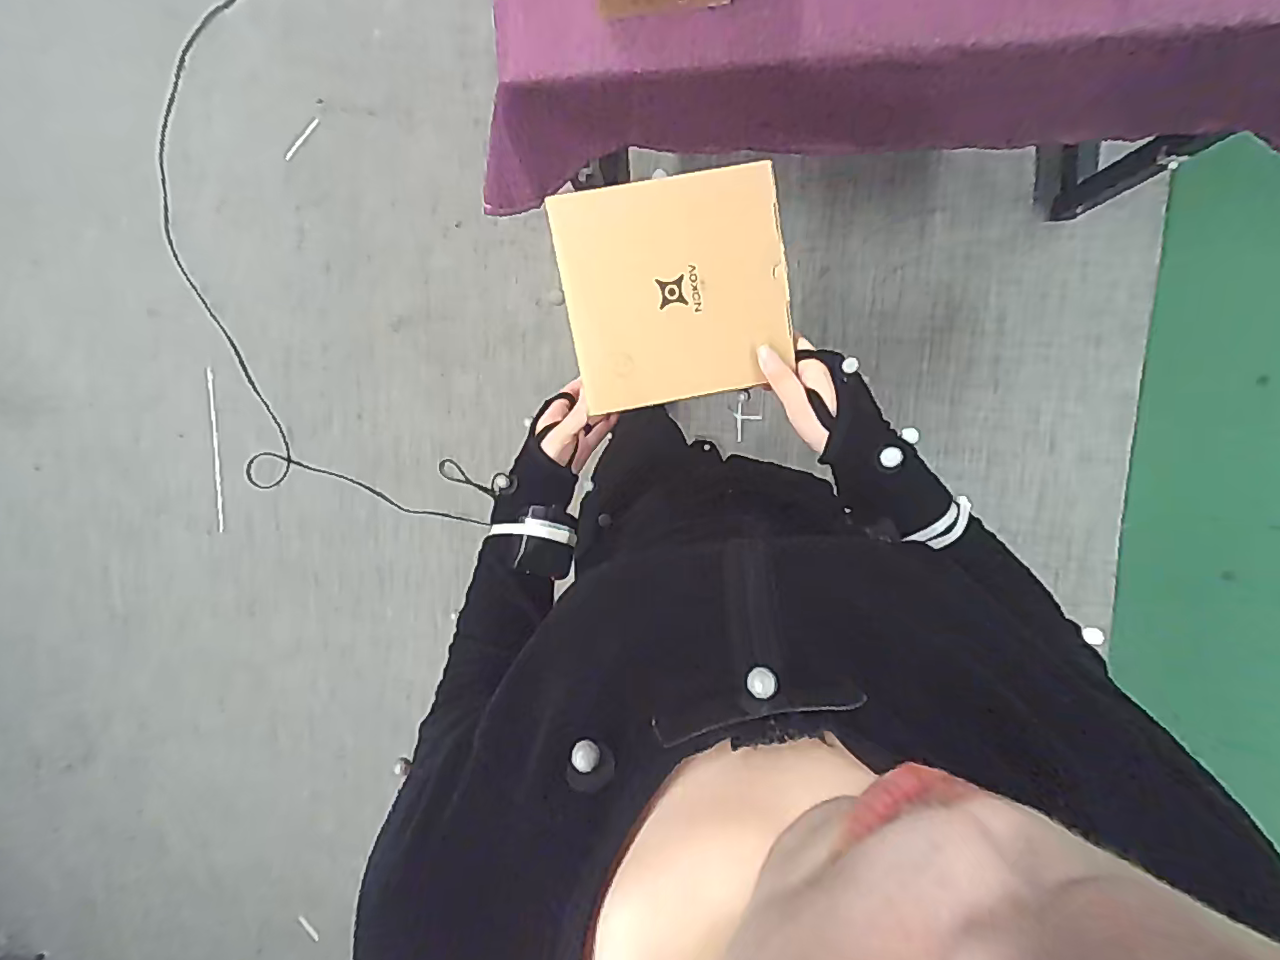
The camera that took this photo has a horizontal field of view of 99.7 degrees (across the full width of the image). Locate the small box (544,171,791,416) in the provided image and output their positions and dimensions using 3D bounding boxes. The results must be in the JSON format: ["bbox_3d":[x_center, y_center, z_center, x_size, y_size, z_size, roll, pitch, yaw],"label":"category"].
[{"bbox_3d":[0.018,-0.155,0.502,0.179,0.176,0.168,-11,100,-5],"label":"small box"}]
